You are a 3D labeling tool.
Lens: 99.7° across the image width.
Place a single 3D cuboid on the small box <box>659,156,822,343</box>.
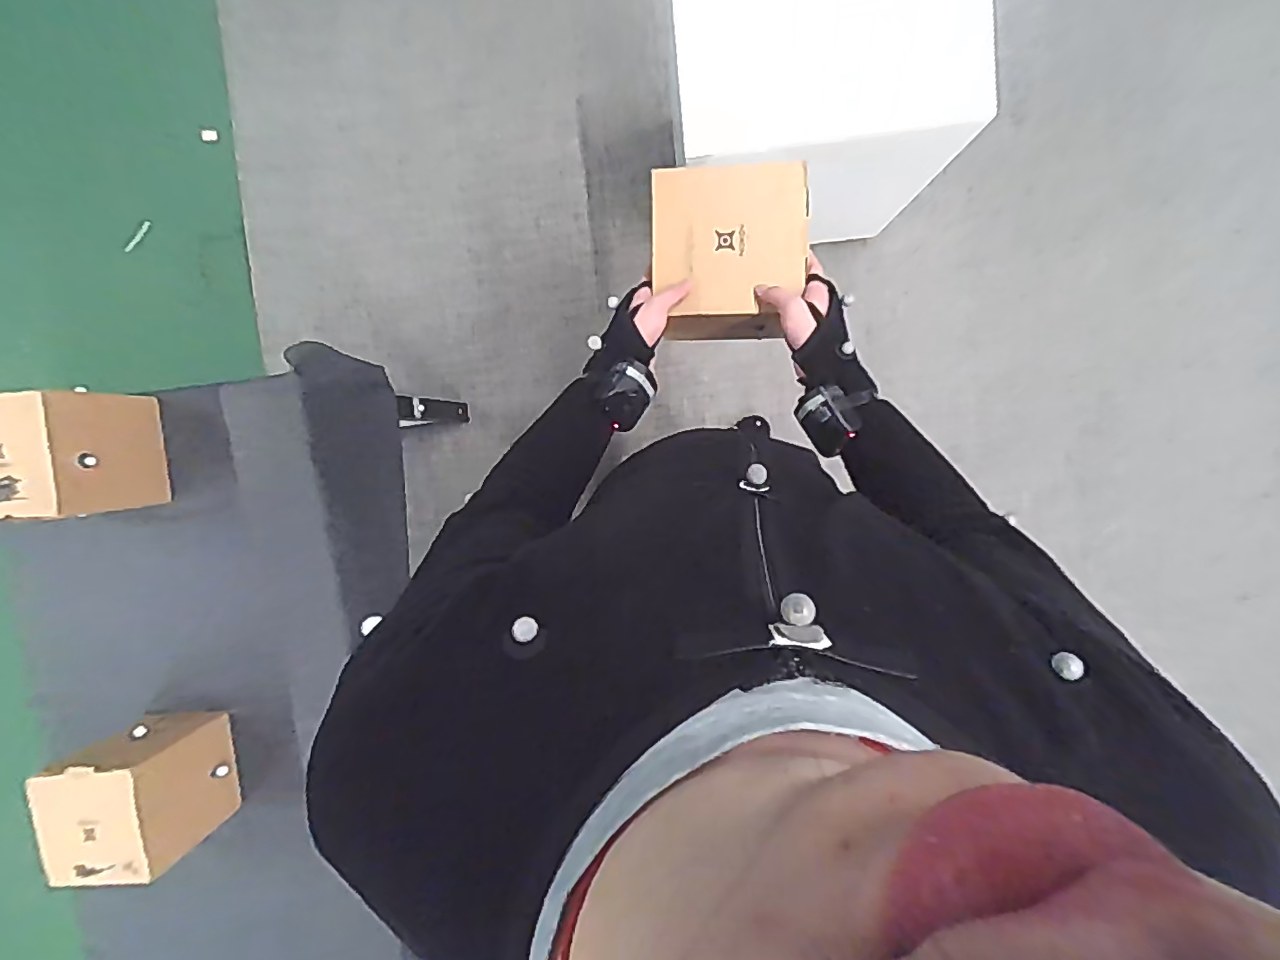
[{"bbox_3d":[0.115,-0.269,0.667,0.179,0.176,0.168,-2,94,5],"label":"small box"}]
